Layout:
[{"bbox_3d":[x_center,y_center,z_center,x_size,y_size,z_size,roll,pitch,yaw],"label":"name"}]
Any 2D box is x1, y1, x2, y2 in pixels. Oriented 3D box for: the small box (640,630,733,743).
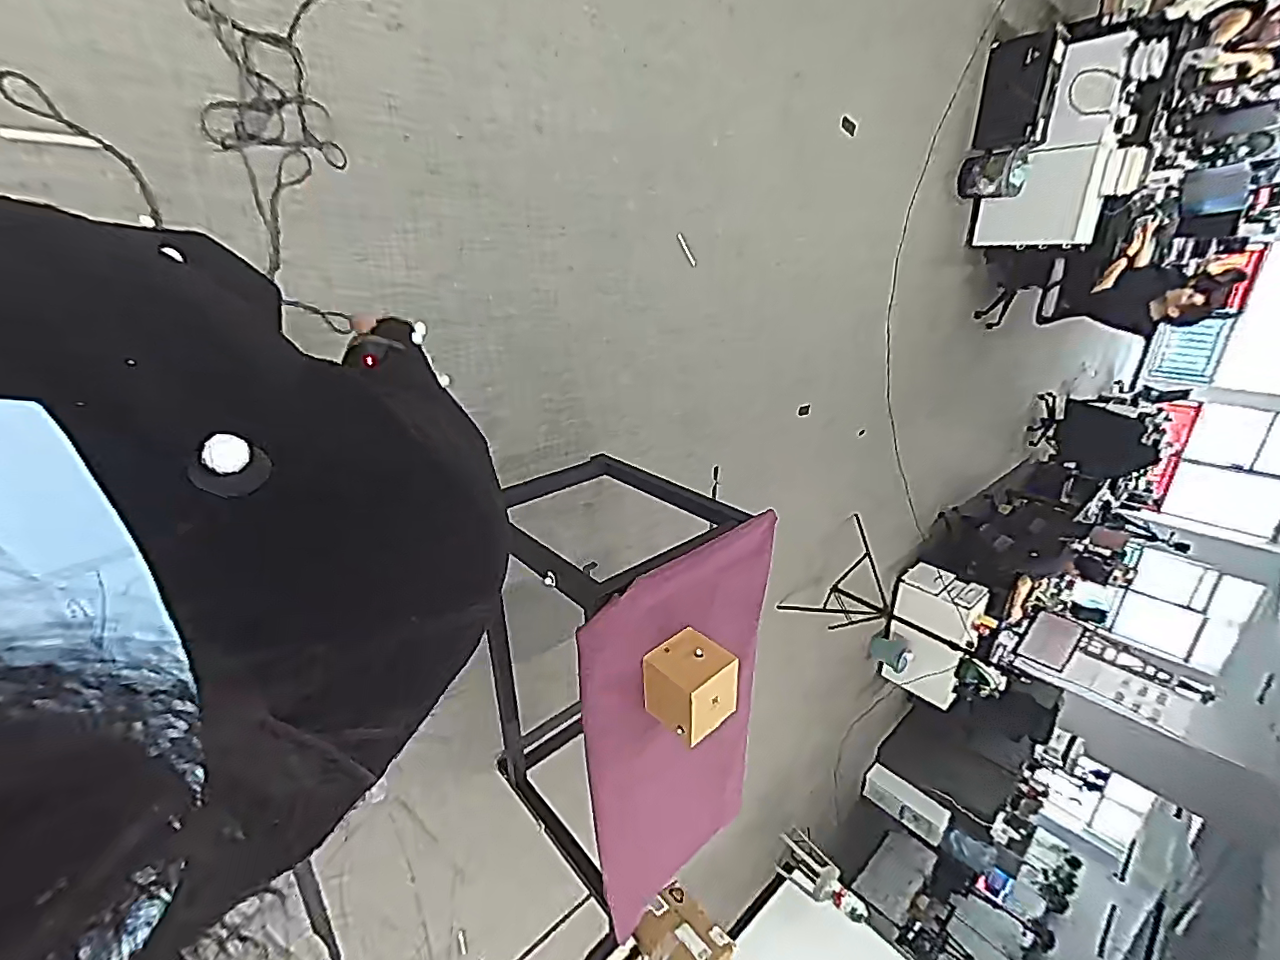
[{"bbox_3d":[0.113,0.498,1.341,0.168,0.176,0.179,-23,122,-37],"label":"small box"}]
